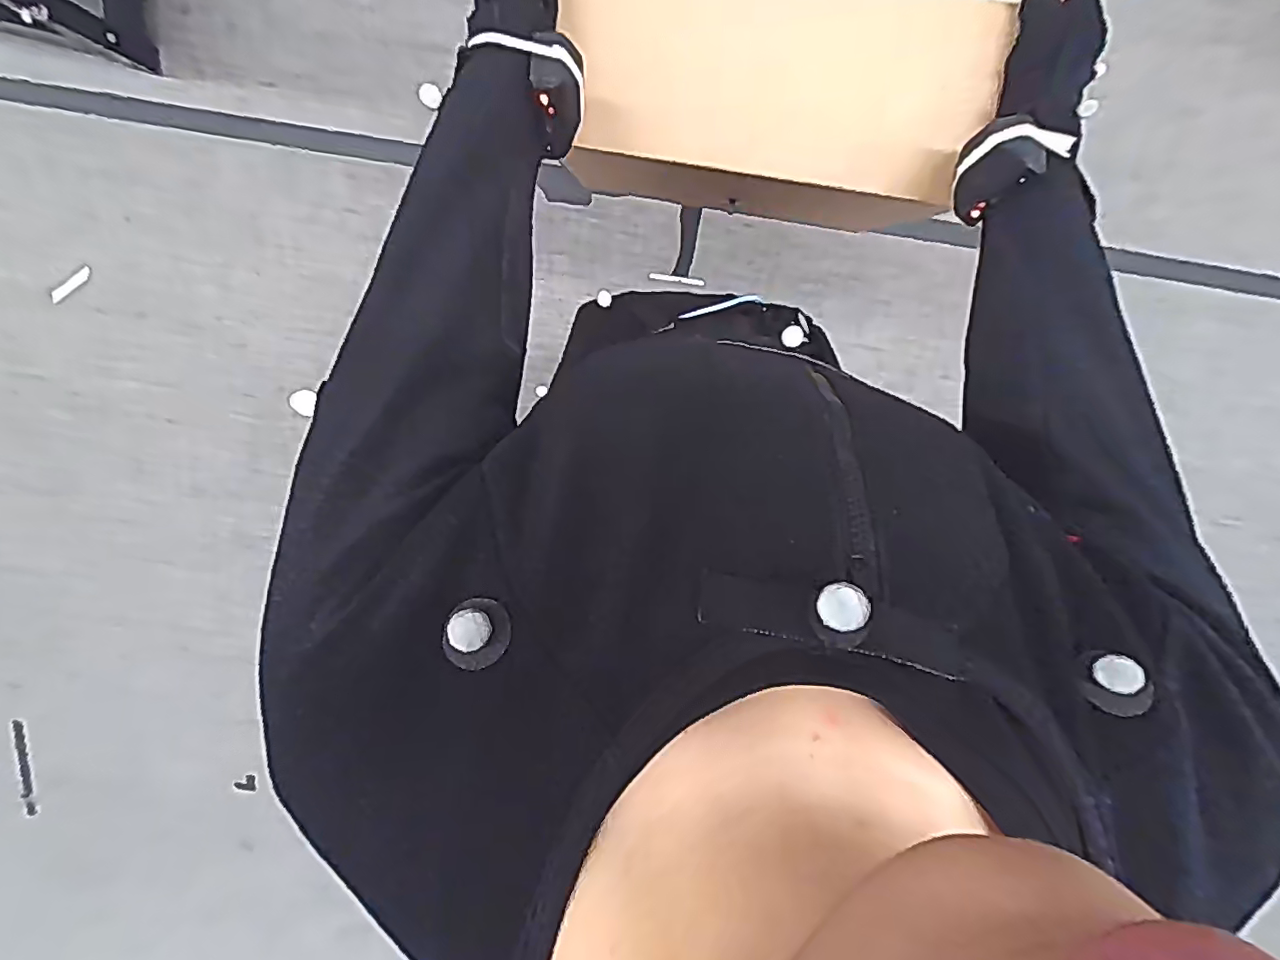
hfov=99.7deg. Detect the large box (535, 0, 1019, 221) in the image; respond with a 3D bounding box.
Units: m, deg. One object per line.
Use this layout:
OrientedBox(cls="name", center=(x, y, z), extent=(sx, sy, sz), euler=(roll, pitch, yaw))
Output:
OrientedBox(cls="large box", center=(0.129, -0.484, 0.583), extent=(0.408, 0.320, 0.320), euler=(10, 110, 0))
